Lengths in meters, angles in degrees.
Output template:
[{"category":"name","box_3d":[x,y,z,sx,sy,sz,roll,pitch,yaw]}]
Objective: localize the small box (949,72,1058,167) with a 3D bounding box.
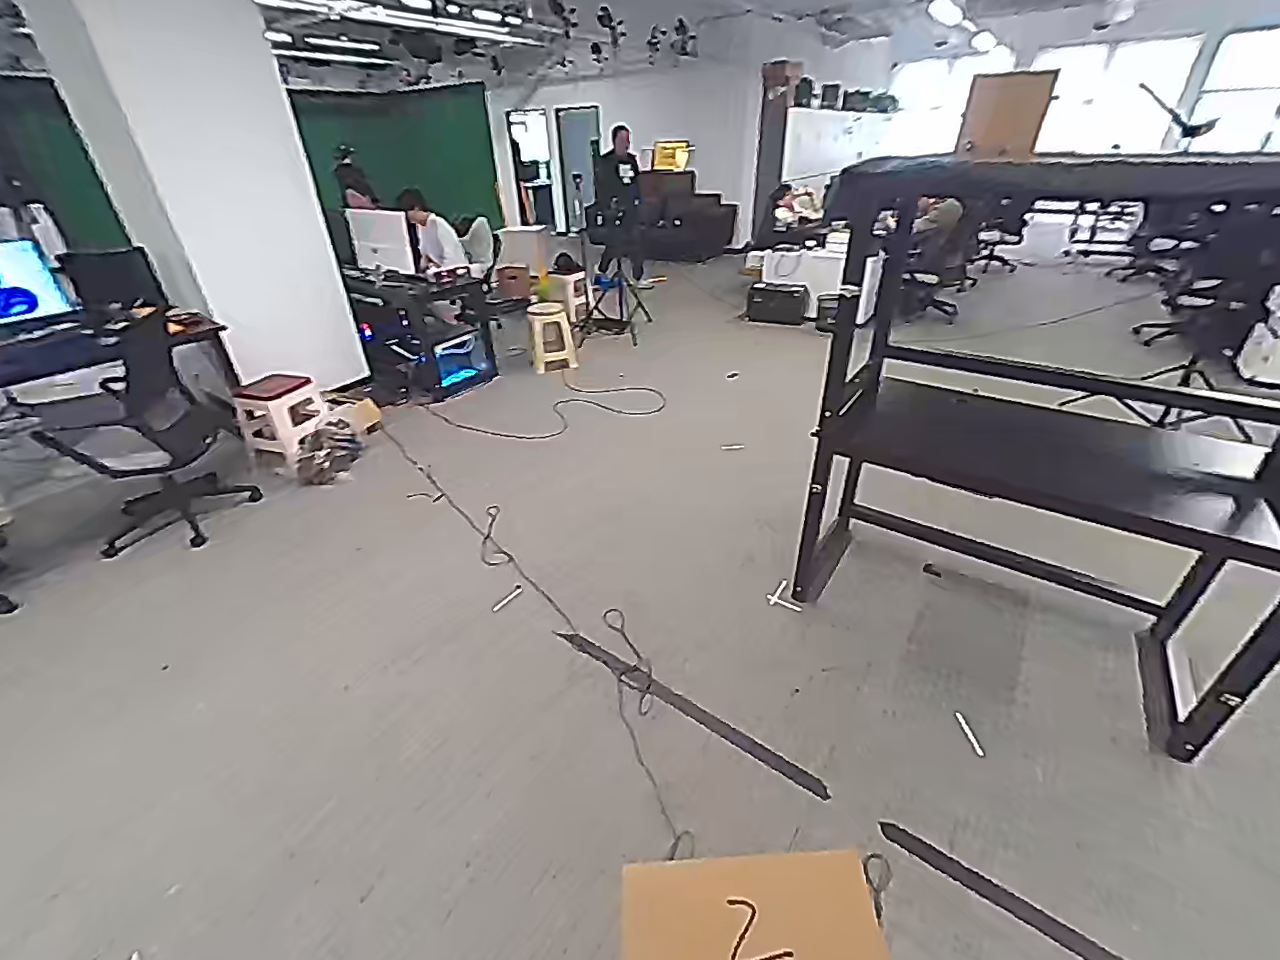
[{"category":"small box","box_3d":[0.829,-0.818,1.240,0.168,0.176,0.179,19,35,27]}]
